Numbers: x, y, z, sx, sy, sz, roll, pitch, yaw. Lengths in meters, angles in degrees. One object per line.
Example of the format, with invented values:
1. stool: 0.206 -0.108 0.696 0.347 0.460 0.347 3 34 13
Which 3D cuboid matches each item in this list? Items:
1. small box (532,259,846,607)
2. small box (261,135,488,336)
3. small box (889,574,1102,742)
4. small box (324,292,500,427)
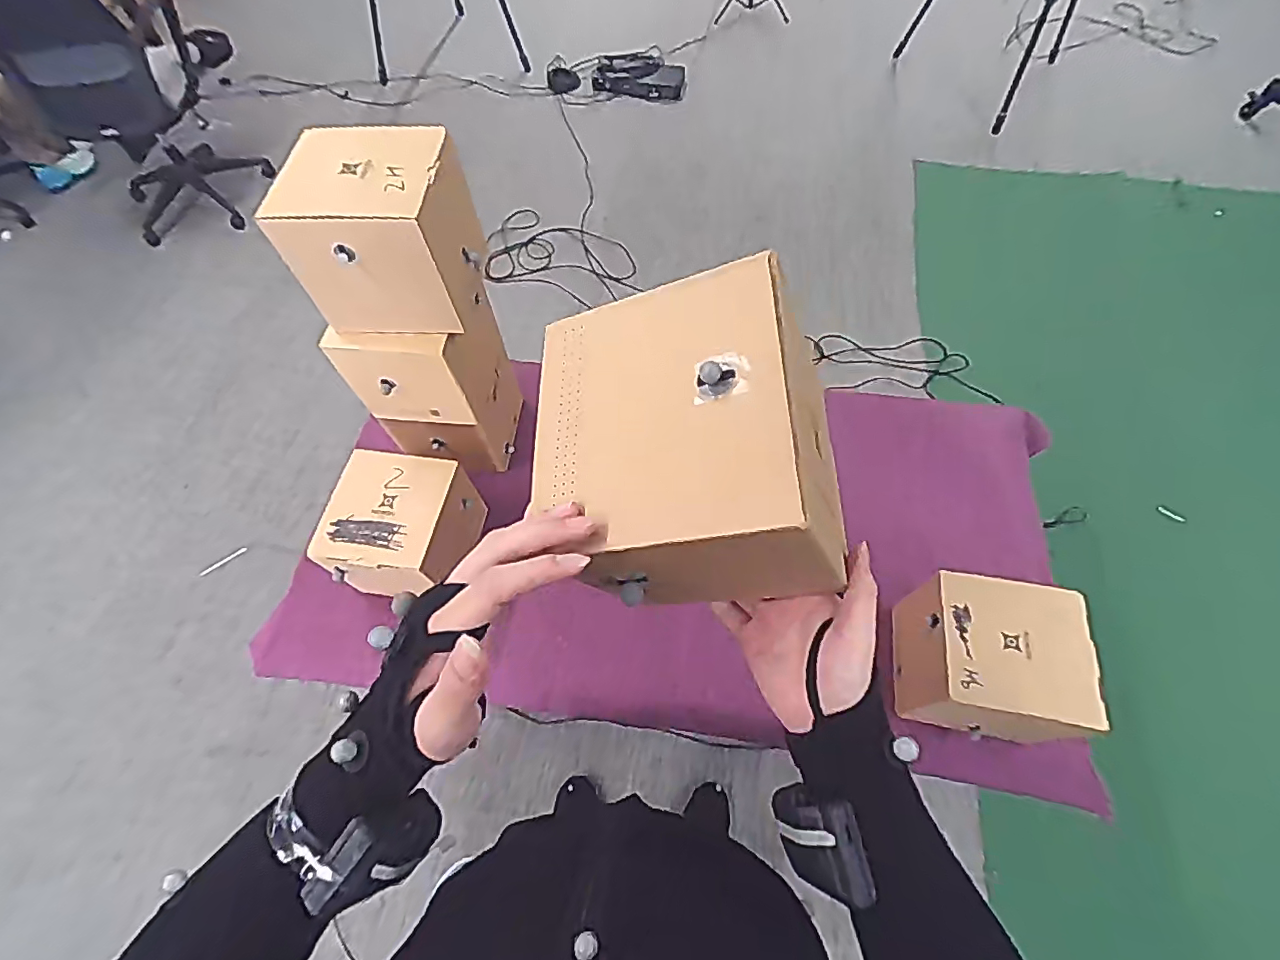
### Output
1. small box: 0.040 -0.014 0.388 0.176 0.168 0.179 -10 64 25
2. small box: -0.308 -0.297 0.672 0.179 0.176 0.168 2 61 2
3. small box: 0.458 0.246 0.729 0.179 0.176 0.168 10 60 7
4. small box: -0.320 -0.196 0.804 0.168 0.176 0.179 4 61 3
